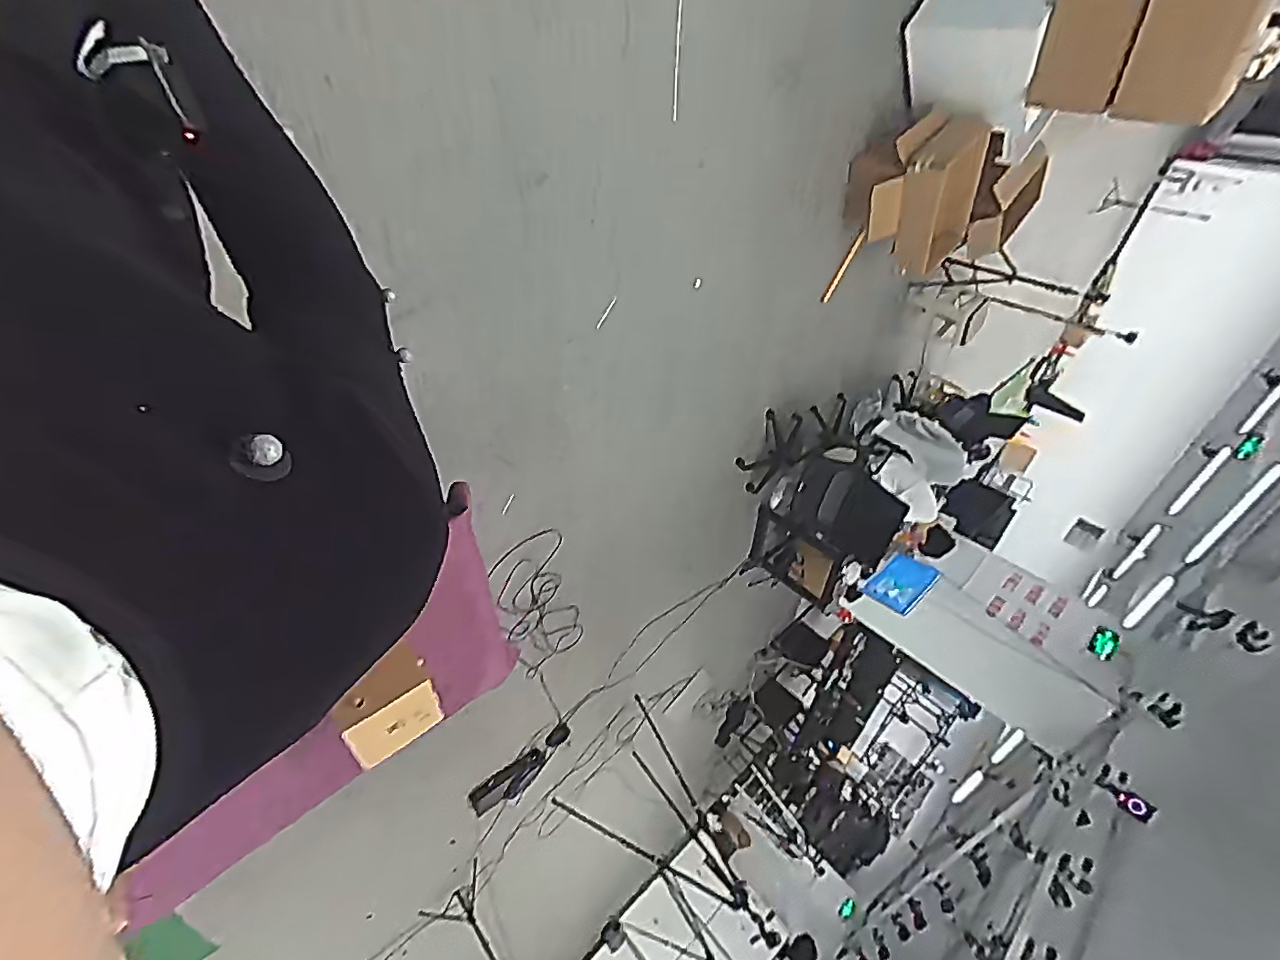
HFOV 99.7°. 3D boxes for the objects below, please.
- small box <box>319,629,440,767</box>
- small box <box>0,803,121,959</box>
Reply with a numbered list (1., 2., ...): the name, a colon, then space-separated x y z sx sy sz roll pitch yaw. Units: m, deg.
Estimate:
1. small box: -0.561 0.460 1.158 0.179 0.176 0.168 -28 138 -32
2. small box: -0.975 0.662 0.849 0.179 0.176 0.168 -29 139 -31
